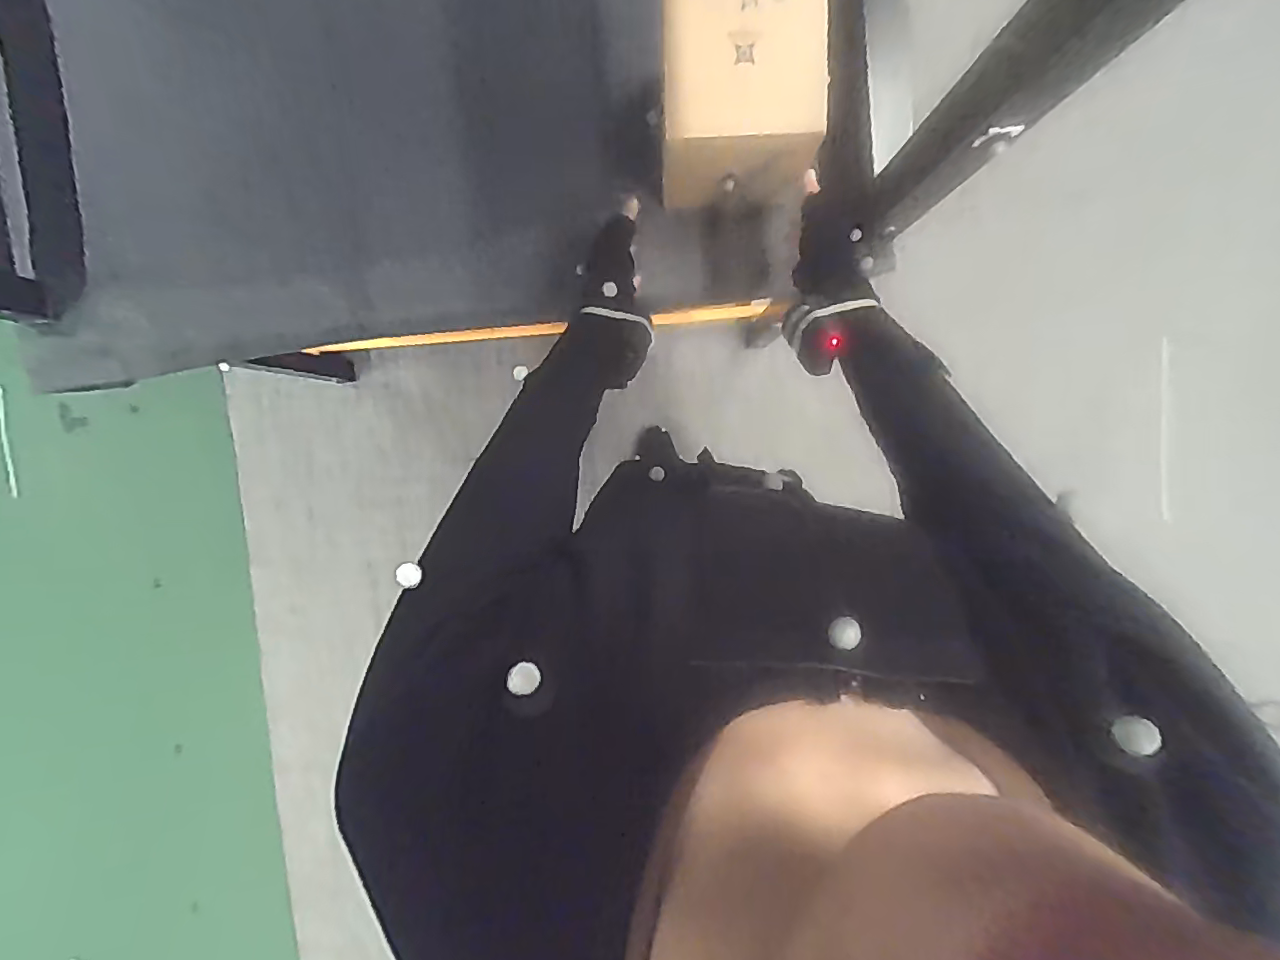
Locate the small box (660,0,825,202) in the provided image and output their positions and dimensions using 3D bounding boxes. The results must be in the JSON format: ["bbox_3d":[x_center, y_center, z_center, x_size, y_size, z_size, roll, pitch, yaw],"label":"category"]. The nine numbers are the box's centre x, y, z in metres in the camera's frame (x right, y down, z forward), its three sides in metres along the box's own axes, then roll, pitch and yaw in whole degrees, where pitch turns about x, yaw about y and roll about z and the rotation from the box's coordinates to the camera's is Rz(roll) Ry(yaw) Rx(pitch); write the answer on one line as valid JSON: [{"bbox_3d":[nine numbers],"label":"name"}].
[{"bbox_3d":[0.107,-0.441,0.626,0.168,0.176,0.179,-1,93,2],"label":"small box"}]
